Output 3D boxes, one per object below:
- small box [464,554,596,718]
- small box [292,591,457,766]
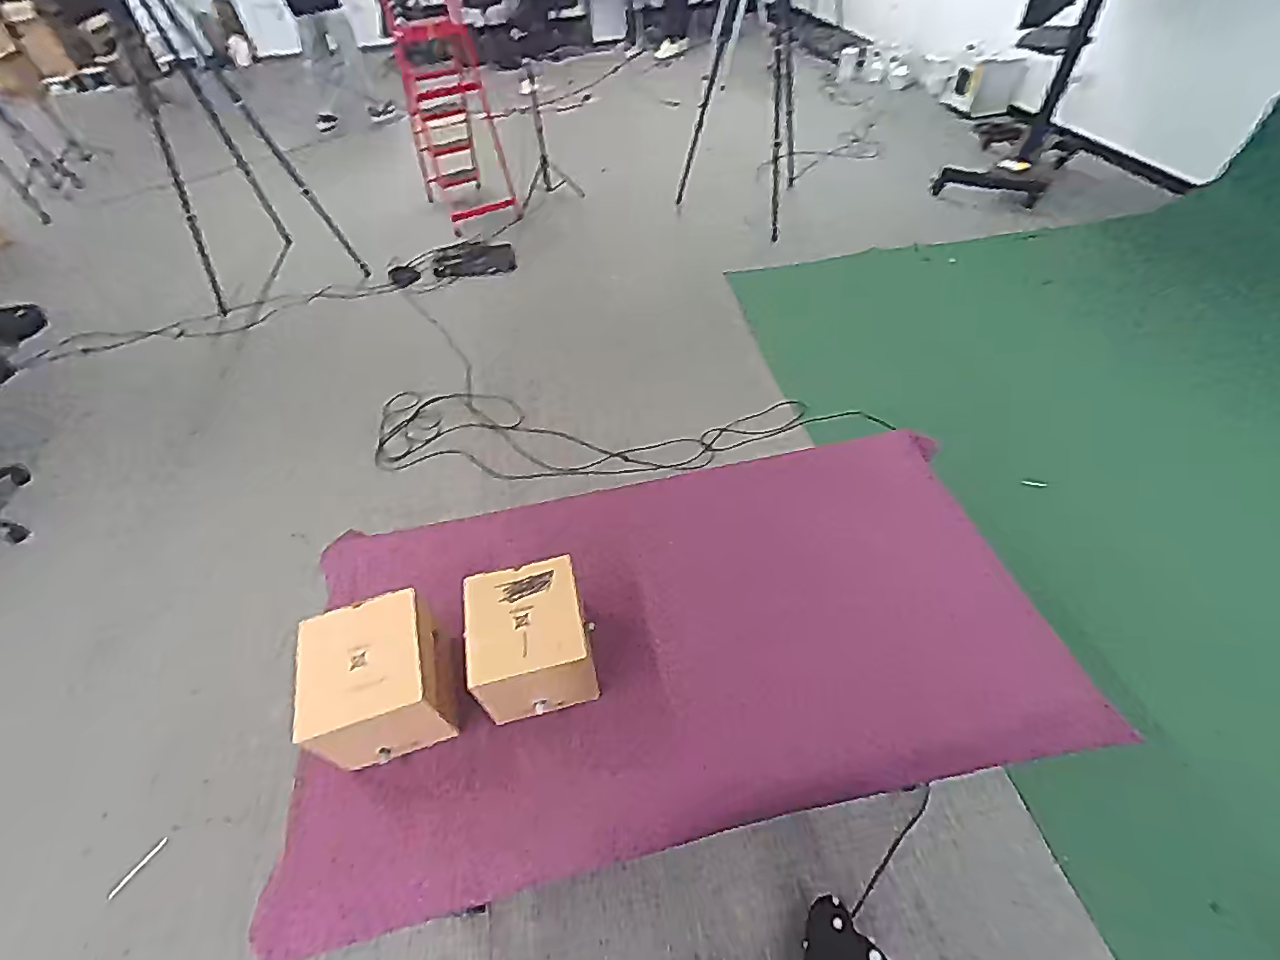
[{"bbox_3d":[-0.171,0.247,0.850,0.168,0.176,0.179,-13,51,-6],"label":"small box"},{"bbox_3d":[-0.391,0.302,0.822,0.168,0.176,0.179,-16,51,-8],"label":"small box"}]
